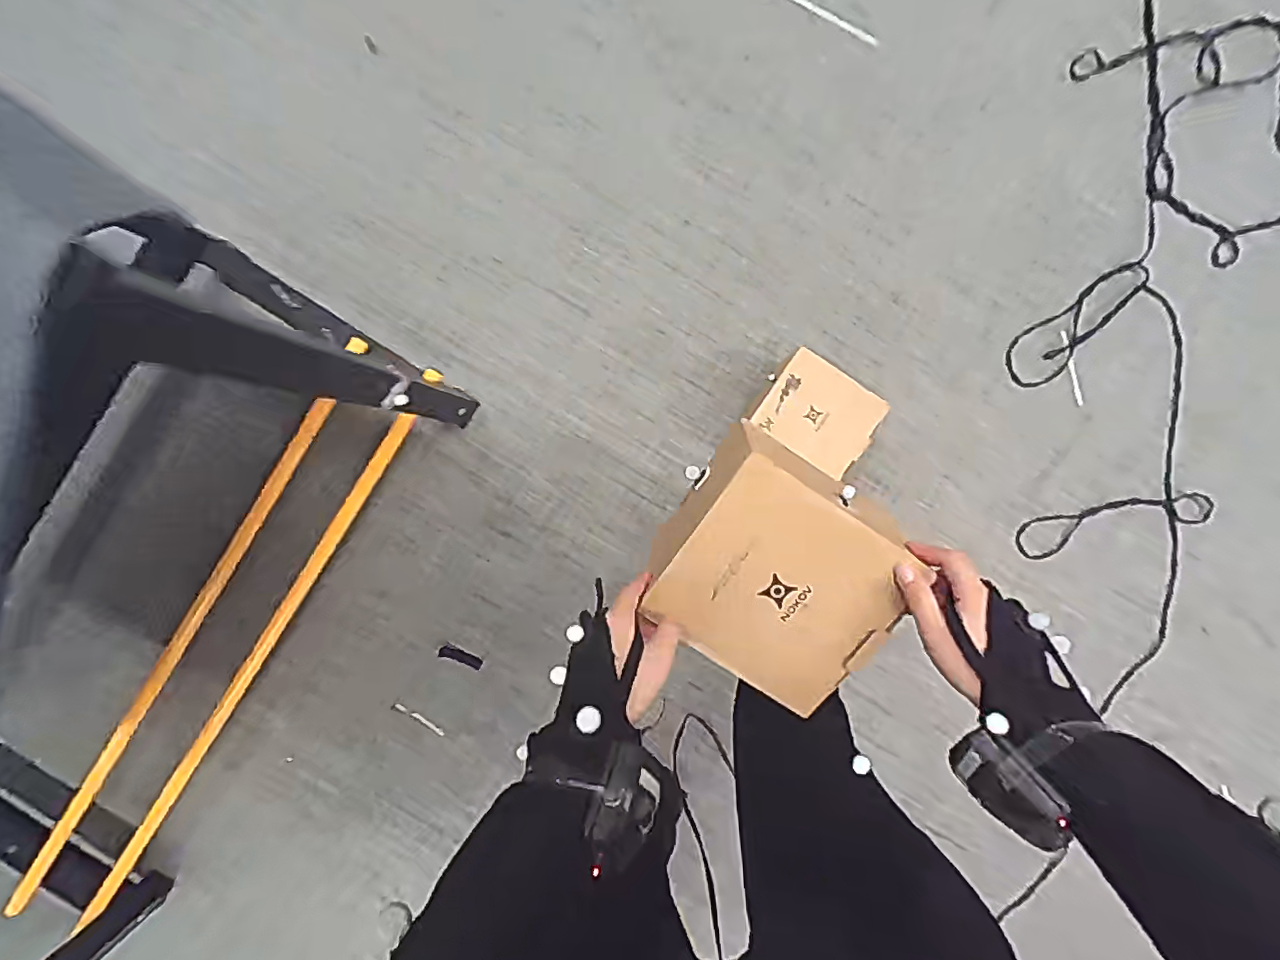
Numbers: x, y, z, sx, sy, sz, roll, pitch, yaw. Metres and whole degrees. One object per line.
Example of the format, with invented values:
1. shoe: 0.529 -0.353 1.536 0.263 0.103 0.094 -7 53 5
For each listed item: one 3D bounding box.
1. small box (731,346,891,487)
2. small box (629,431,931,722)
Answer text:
1. small box: 0.282 -0.104 0.934 0.179 0.176 0.168 35 91 -1
2. small box: 0.114 0.071 0.498 0.179 0.176 0.168 33 106 -2
